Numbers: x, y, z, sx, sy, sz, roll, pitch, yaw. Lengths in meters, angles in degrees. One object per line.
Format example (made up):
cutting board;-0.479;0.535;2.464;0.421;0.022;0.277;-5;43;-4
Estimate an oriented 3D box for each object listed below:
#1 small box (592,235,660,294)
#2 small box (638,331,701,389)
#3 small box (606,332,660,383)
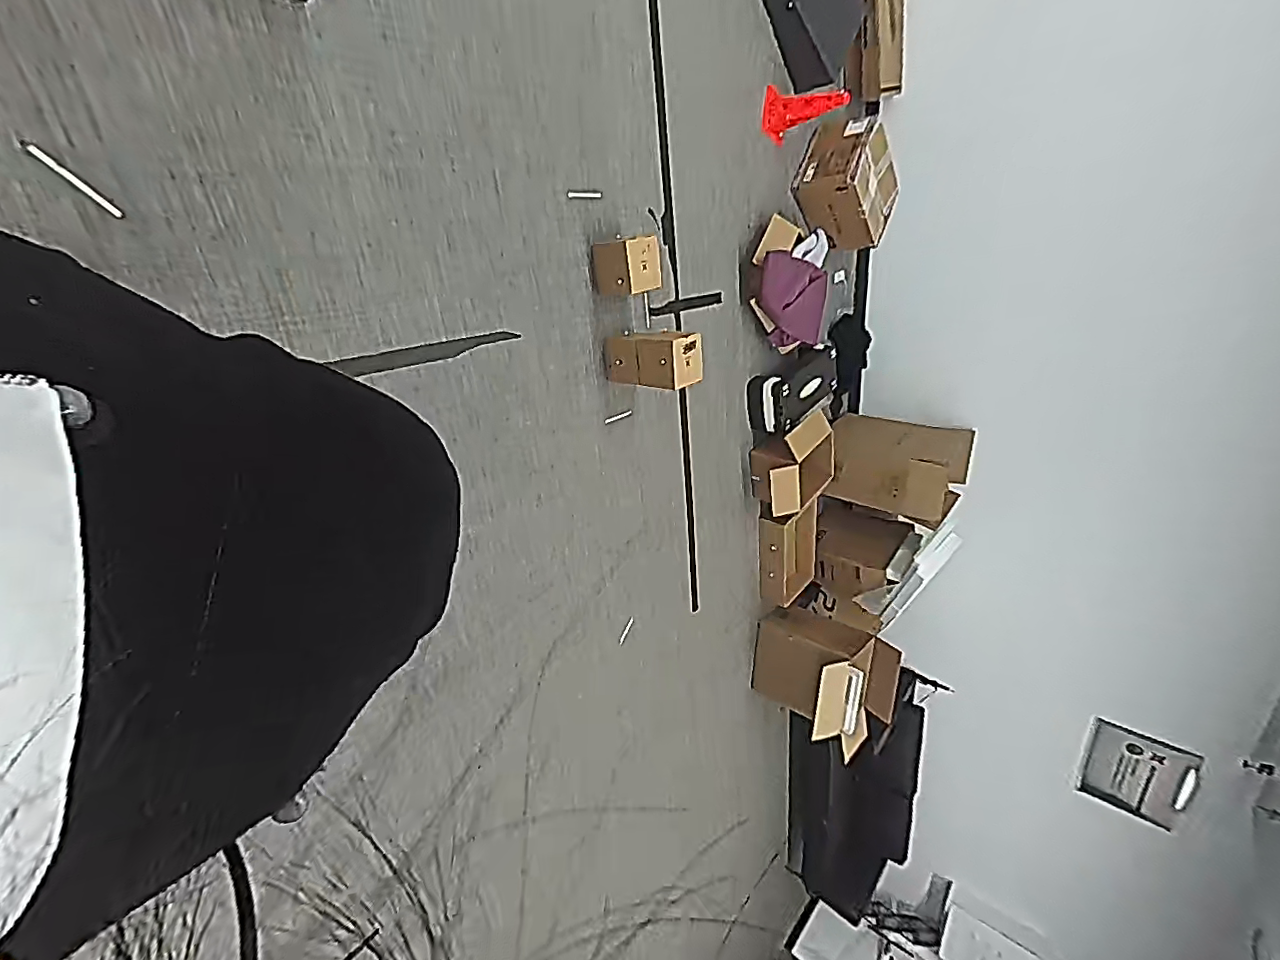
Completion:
small box;-0.049;-0.769;1.934;0.168;0.176;0.179;-31;124;-40
small box;0.105;-0.442;1.964;0.168;0.176;0.179;-28;123;-41
small box;-0.017;-0.472;2.071;0.179;0.176;0.168;-25;121;-41
